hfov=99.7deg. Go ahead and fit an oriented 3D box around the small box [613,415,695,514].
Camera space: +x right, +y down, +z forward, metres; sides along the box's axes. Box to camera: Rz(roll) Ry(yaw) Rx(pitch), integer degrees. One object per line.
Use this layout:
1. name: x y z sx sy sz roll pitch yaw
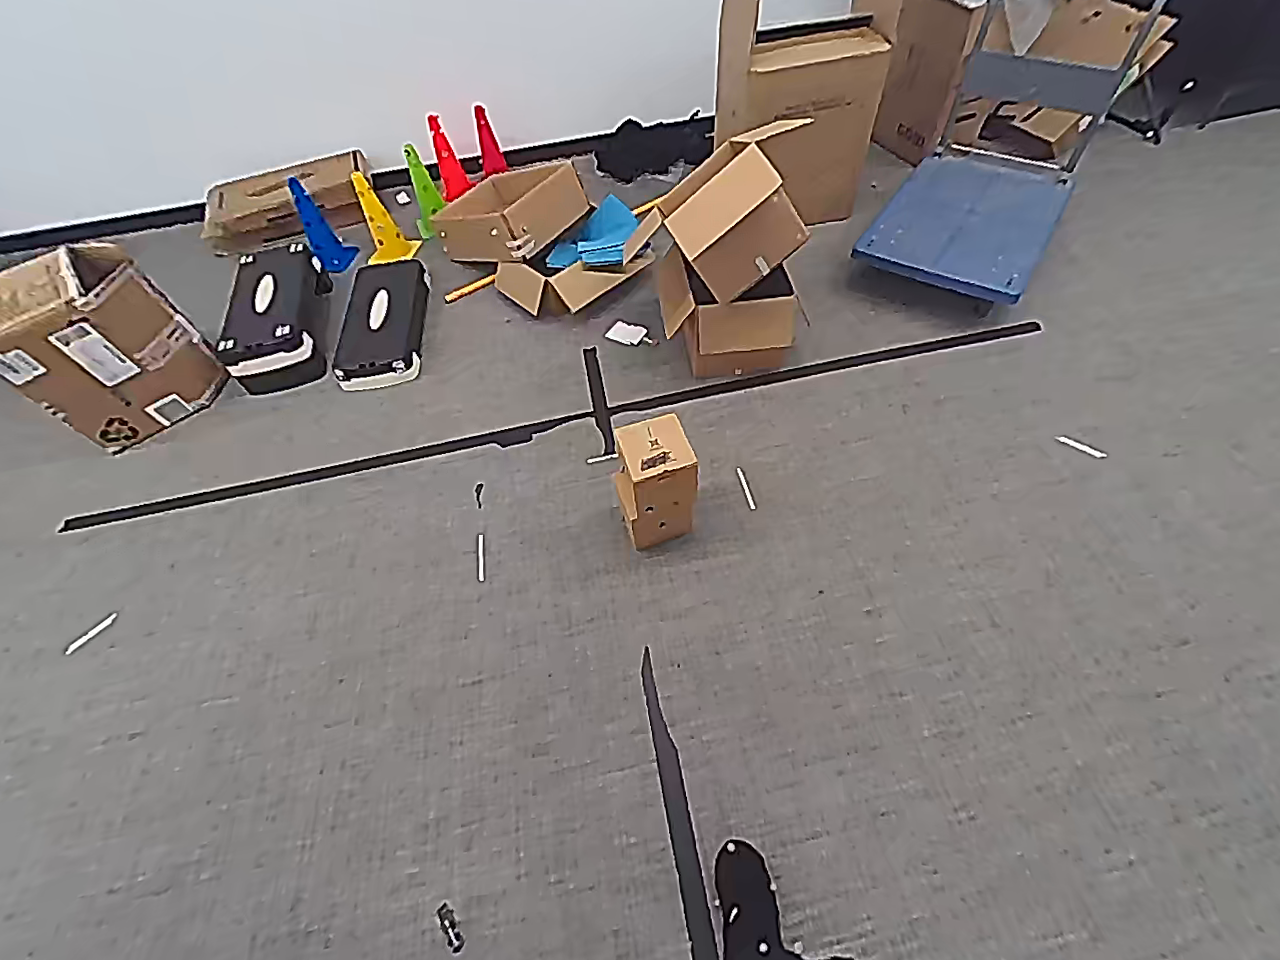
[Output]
1. small box: 0.039 -0.031 1.387 0.168 0.176 0.179 -16 54 -7
